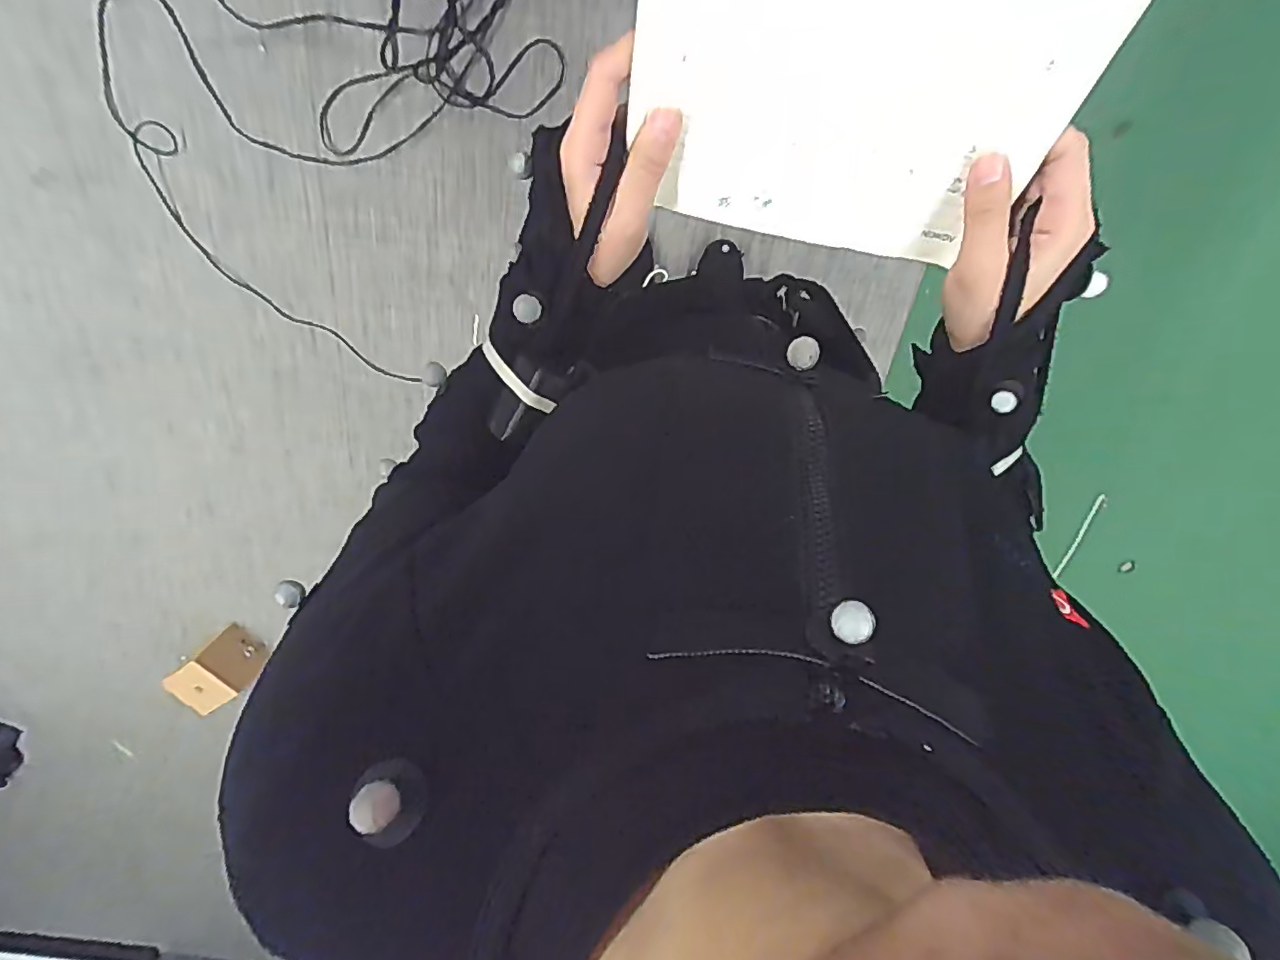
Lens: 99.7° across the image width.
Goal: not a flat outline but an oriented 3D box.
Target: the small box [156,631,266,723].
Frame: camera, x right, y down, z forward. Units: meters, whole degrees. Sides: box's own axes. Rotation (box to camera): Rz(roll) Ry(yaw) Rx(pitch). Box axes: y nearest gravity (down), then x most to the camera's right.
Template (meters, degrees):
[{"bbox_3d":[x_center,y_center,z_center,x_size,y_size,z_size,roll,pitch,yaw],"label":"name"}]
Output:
[{"bbox_3d":[-1.321,0.607,1.678,0.179,0.176,0.168,-32,111,15],"label":"small box"}]
